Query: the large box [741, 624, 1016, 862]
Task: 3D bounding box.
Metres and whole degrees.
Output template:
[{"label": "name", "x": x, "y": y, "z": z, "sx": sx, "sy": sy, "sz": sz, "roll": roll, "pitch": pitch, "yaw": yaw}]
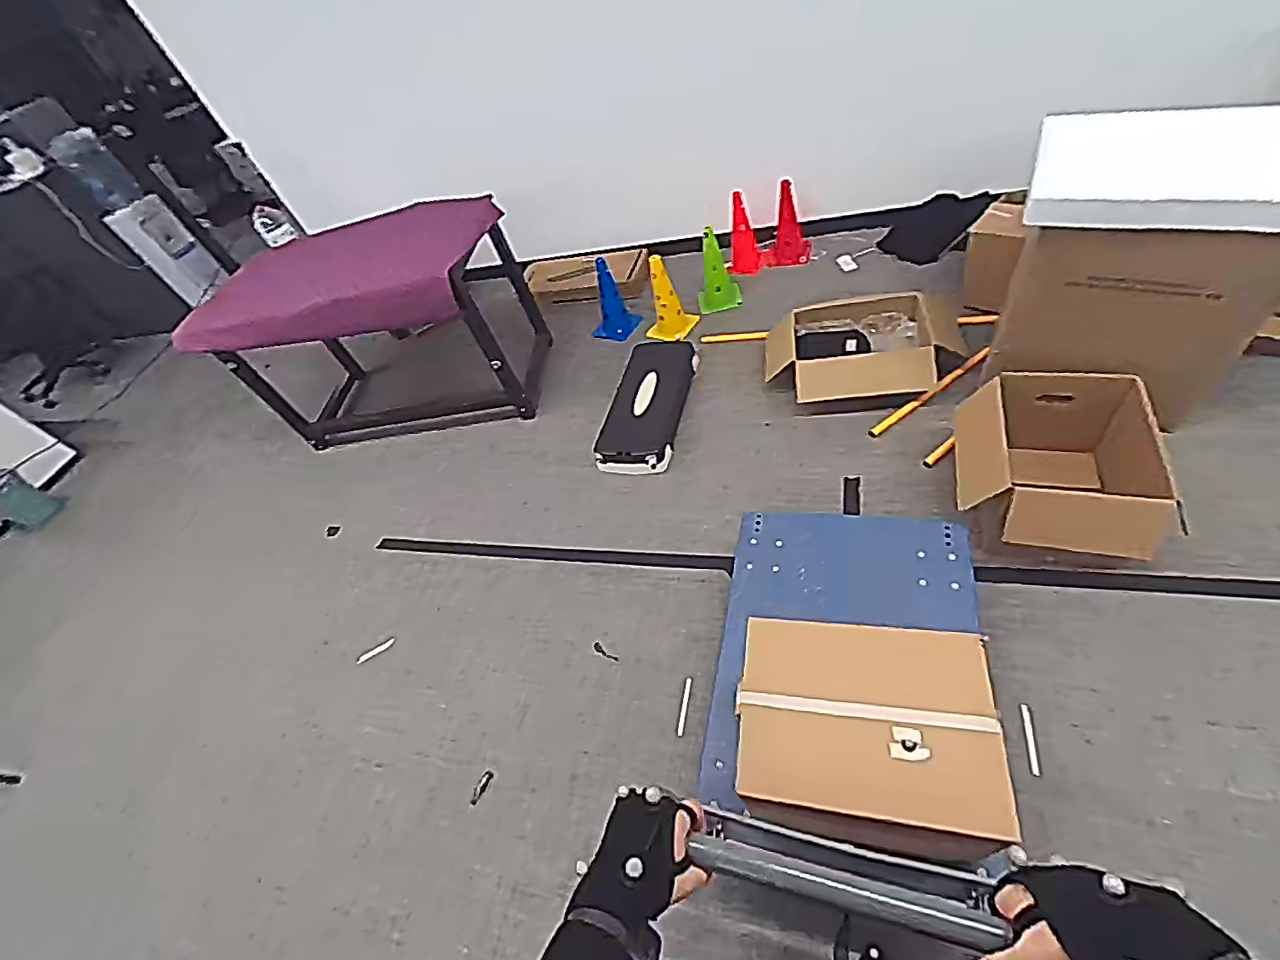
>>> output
[{"label": "large box", "x": 0.414, "y": 0.497, "z": 1.034, "sx": 0.408, "sy": 0.320, "sz": 0.320, "roll": 0, "pitch": 52, "yaw": 17}]
